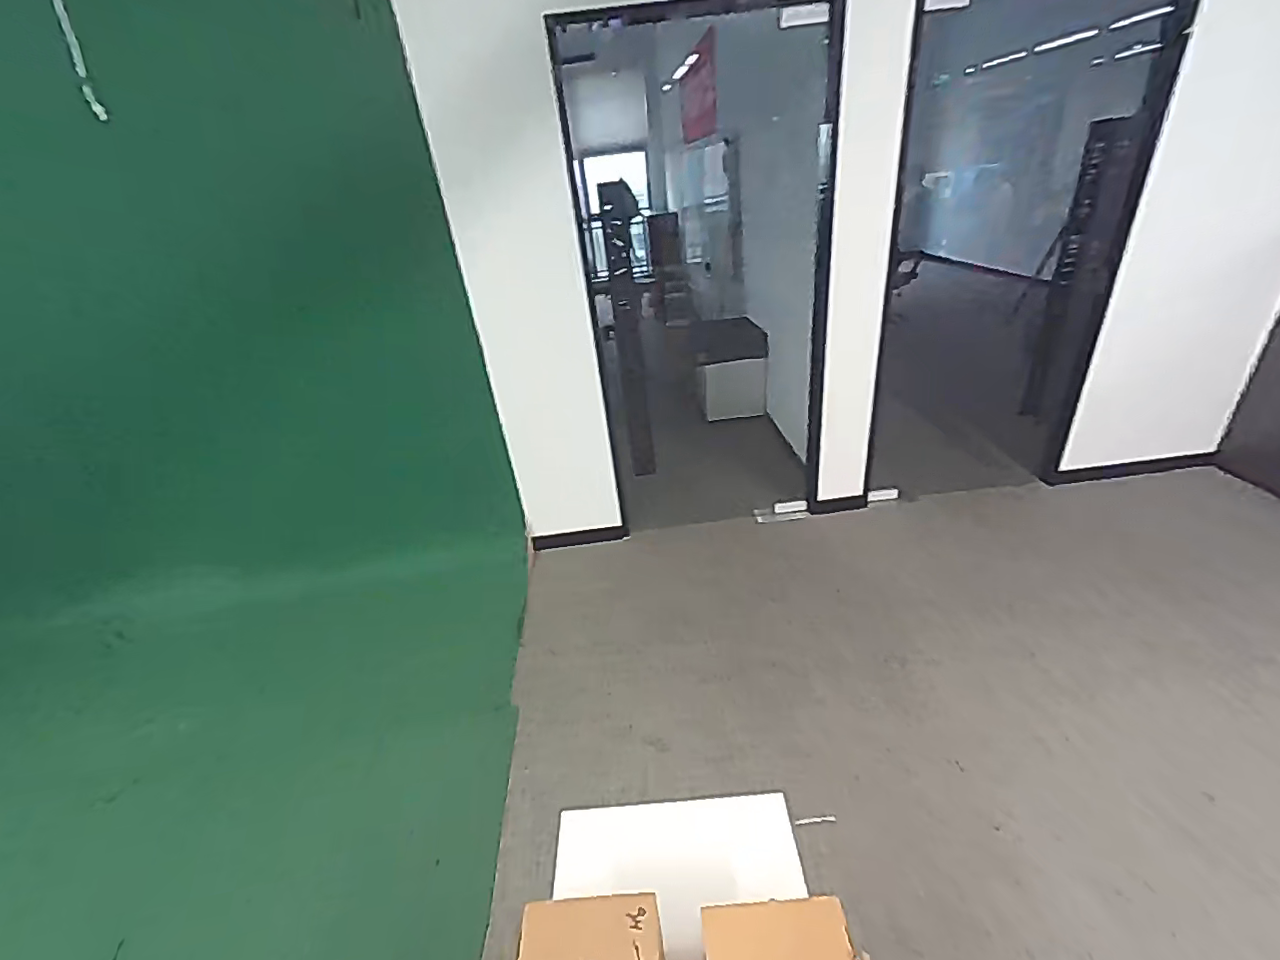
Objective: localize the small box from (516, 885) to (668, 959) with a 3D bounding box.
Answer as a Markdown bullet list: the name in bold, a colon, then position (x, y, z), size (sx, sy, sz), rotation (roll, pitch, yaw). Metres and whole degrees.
- **small box**: position (-0.056, 0.647, 0.677), size (0.179, 0.176, 0.168), rotation (-6, 30, 1)
